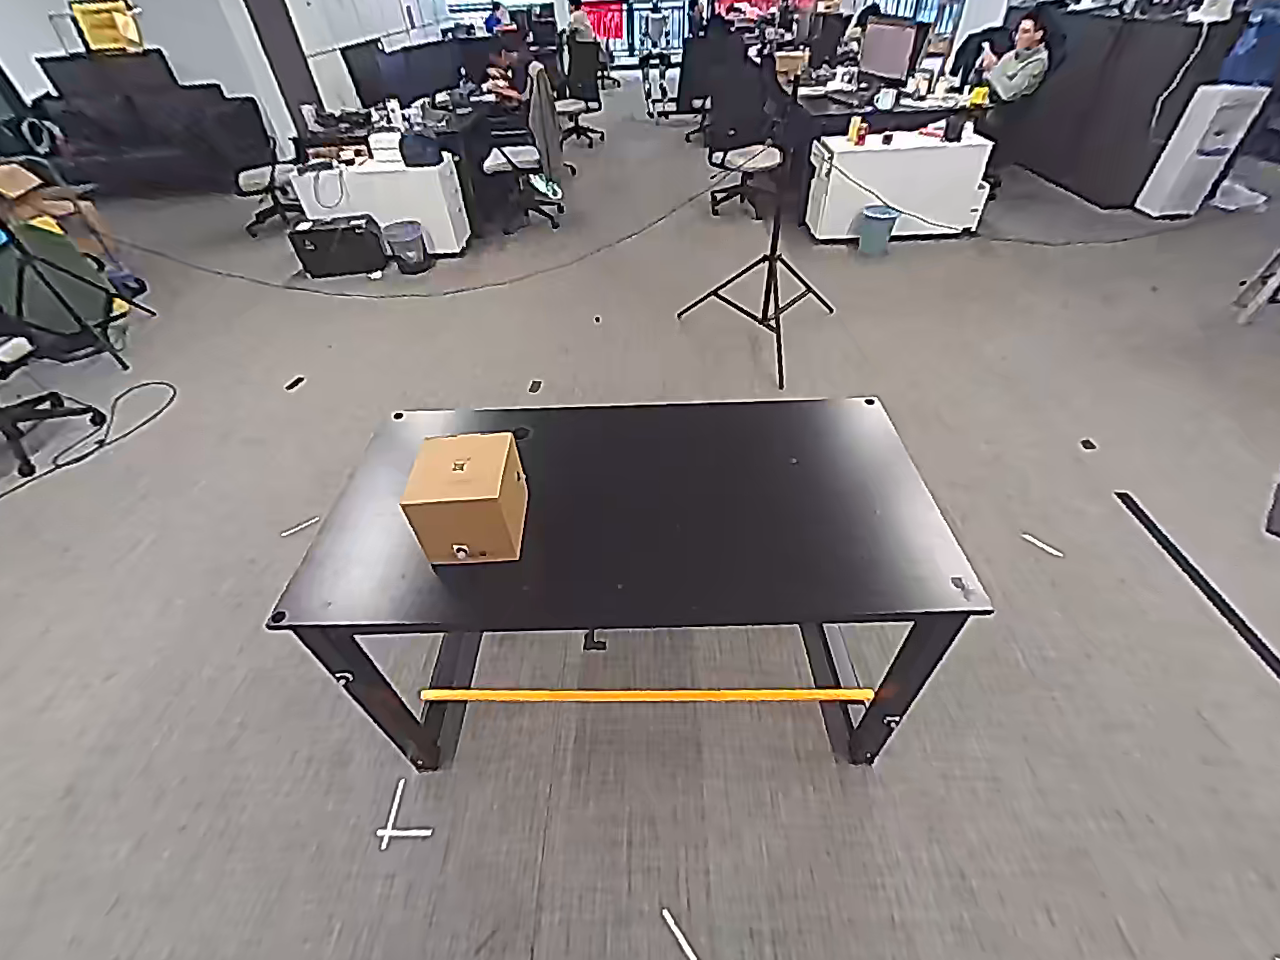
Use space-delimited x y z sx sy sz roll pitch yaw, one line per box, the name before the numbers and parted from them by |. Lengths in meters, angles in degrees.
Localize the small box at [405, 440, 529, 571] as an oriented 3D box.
small box | -0.308 0.047 1.007 0.168 0.176 0.179 -5 44 0
